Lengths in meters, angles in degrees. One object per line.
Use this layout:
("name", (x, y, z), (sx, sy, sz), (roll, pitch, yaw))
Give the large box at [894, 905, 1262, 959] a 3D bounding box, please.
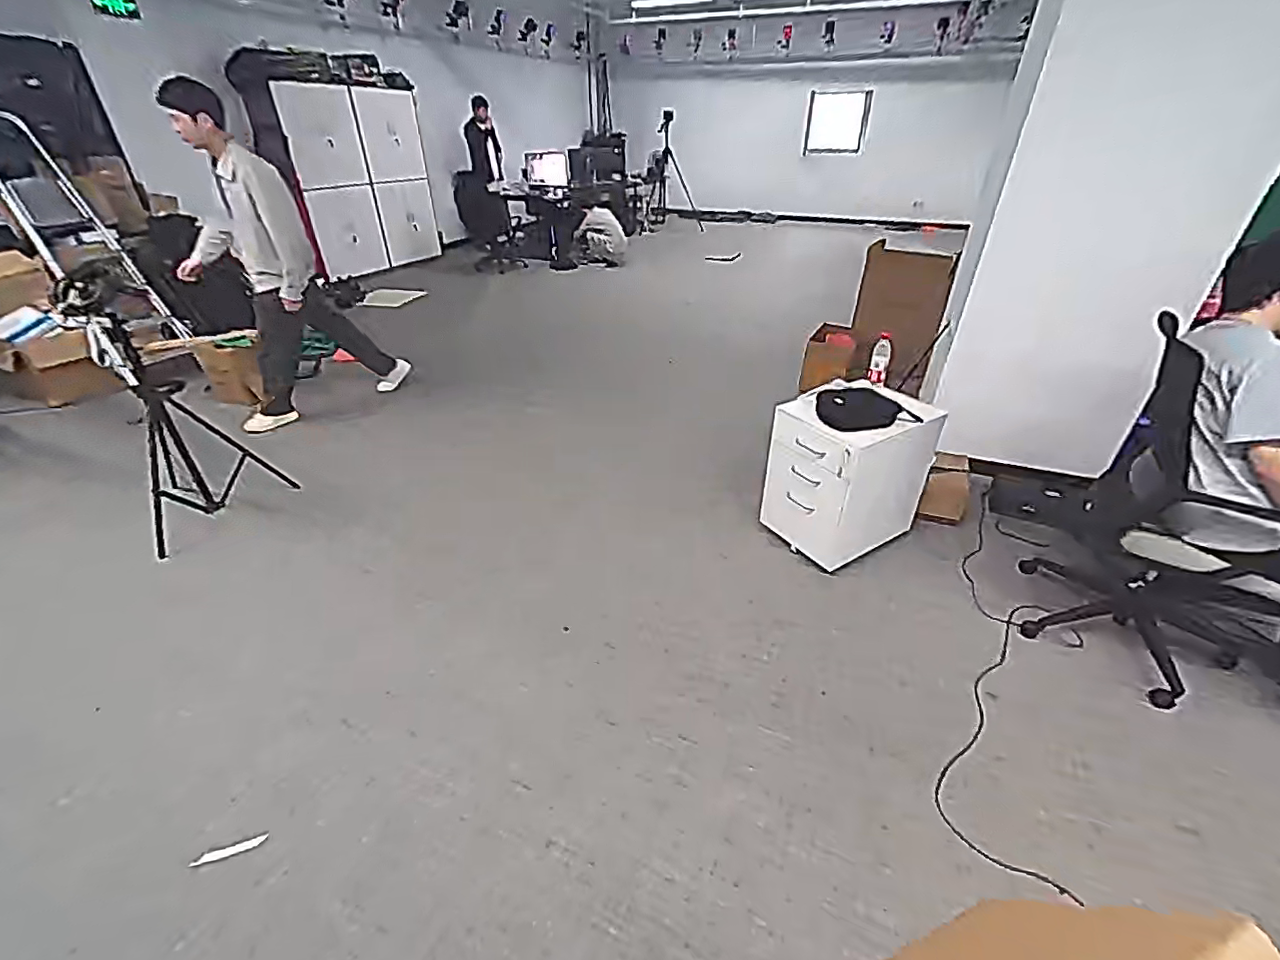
("large box", (0.496, 0.712, 0.586), (0.320, 0.408, 0.320), (-11, 58, -17))
